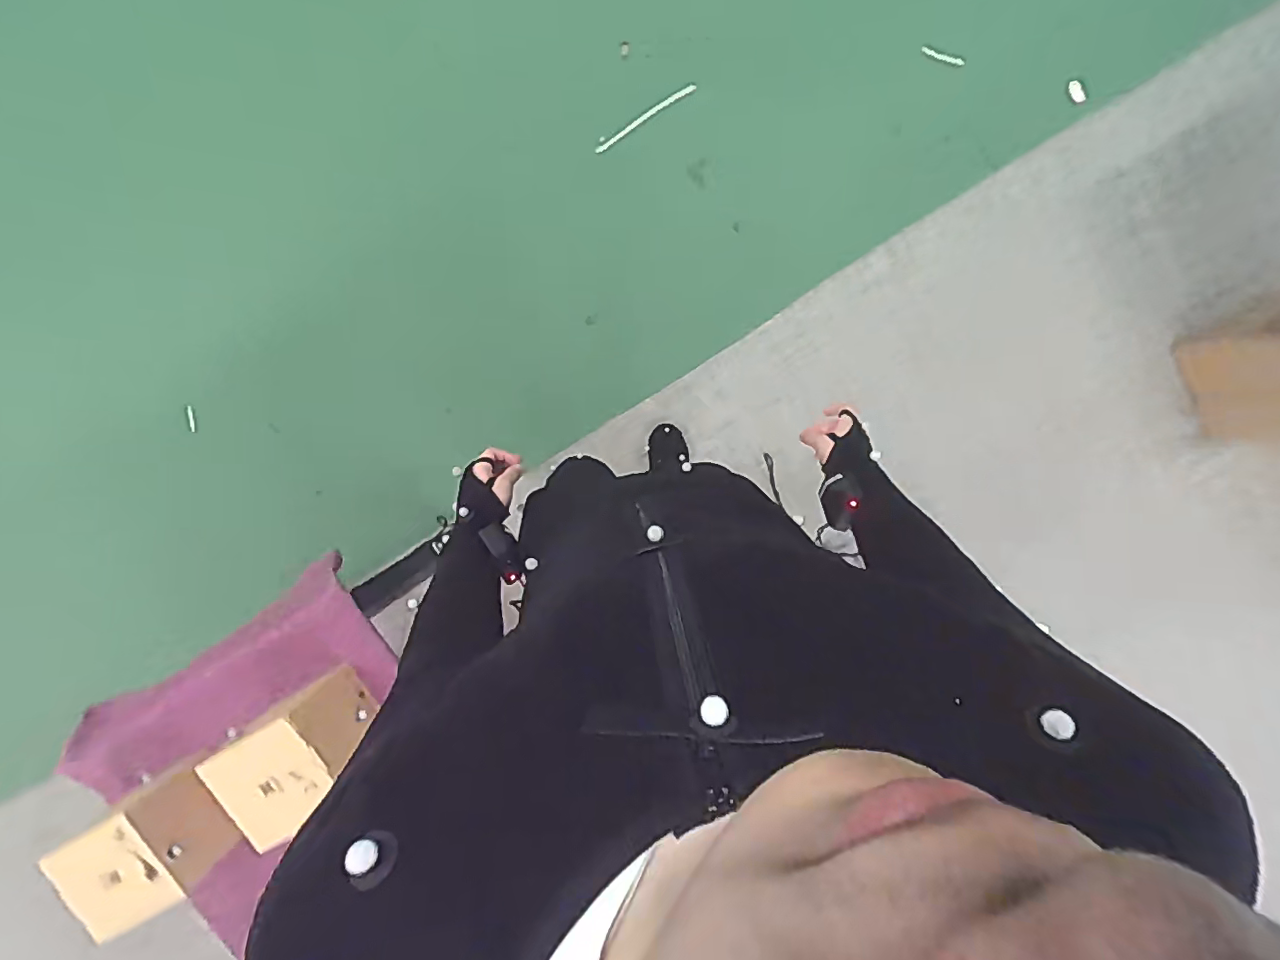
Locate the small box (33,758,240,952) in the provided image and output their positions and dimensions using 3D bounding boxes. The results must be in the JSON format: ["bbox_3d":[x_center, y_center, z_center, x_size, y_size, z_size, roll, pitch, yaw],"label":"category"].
[{"bbox_3d":[-0.812,0.613,0.903,0.179,0.176,0.168,-31,96,5],"label":"small box"}]

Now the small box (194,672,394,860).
[{"bbox_3d":[-0.542,0.449,0.873,0.179,0.176,0.168,-31,97,5],"label":"small box"}]
